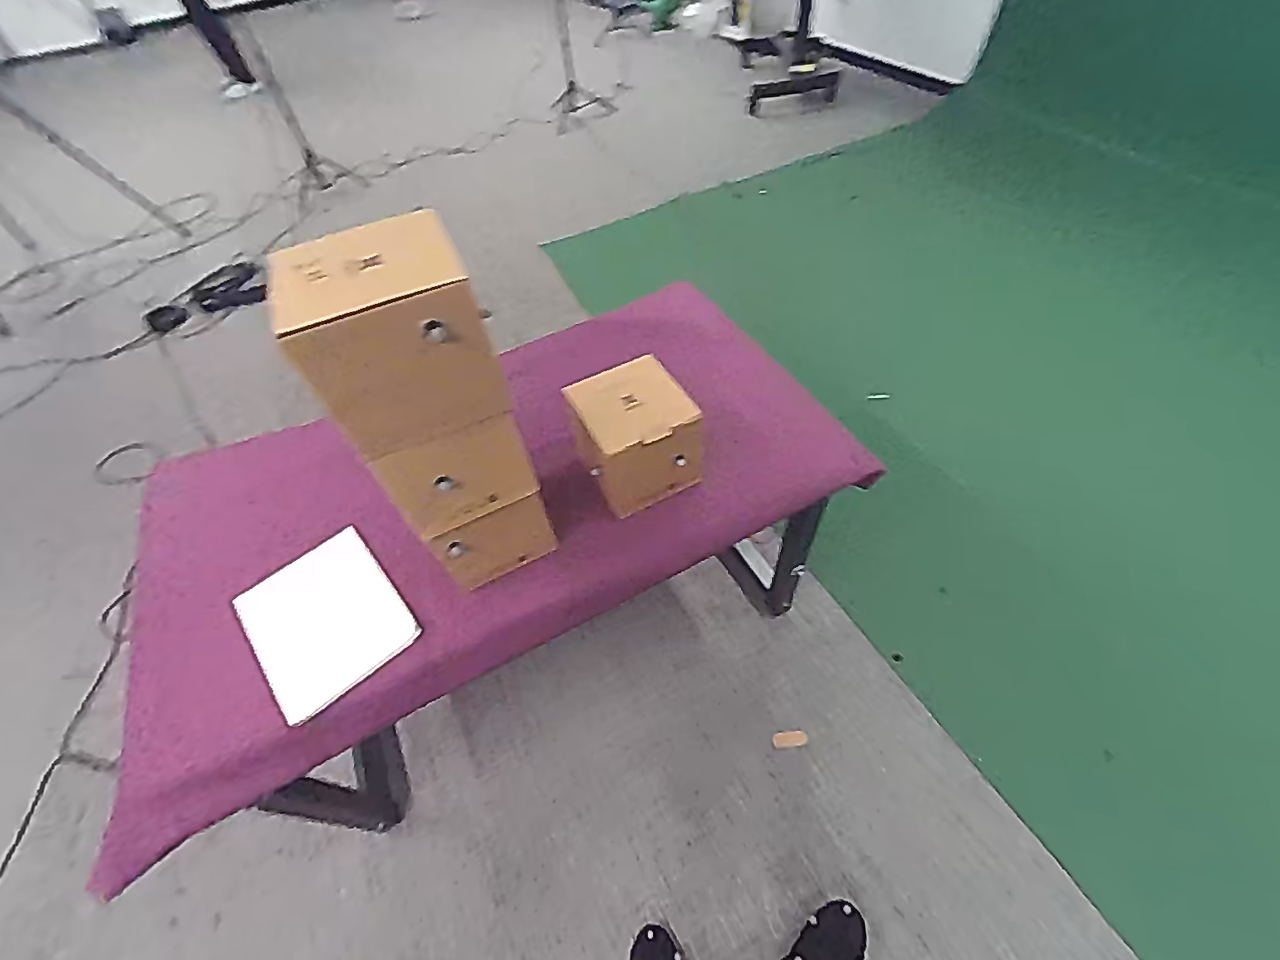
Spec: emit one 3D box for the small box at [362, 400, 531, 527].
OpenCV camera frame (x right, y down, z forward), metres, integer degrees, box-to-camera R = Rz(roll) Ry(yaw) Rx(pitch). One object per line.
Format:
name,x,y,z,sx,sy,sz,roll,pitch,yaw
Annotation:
small box,-0.262,-0.059,0.722,0.168,0.176,0.179,-25,53,-13

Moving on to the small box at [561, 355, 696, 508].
small box,-0.015,-0.074,0.919,0.168,0.176,0.179,-24,53,-14

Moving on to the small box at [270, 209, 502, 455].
small box,-0.264,-0.159,0.591,0.179,0.176,0.168,-23,53,-12
